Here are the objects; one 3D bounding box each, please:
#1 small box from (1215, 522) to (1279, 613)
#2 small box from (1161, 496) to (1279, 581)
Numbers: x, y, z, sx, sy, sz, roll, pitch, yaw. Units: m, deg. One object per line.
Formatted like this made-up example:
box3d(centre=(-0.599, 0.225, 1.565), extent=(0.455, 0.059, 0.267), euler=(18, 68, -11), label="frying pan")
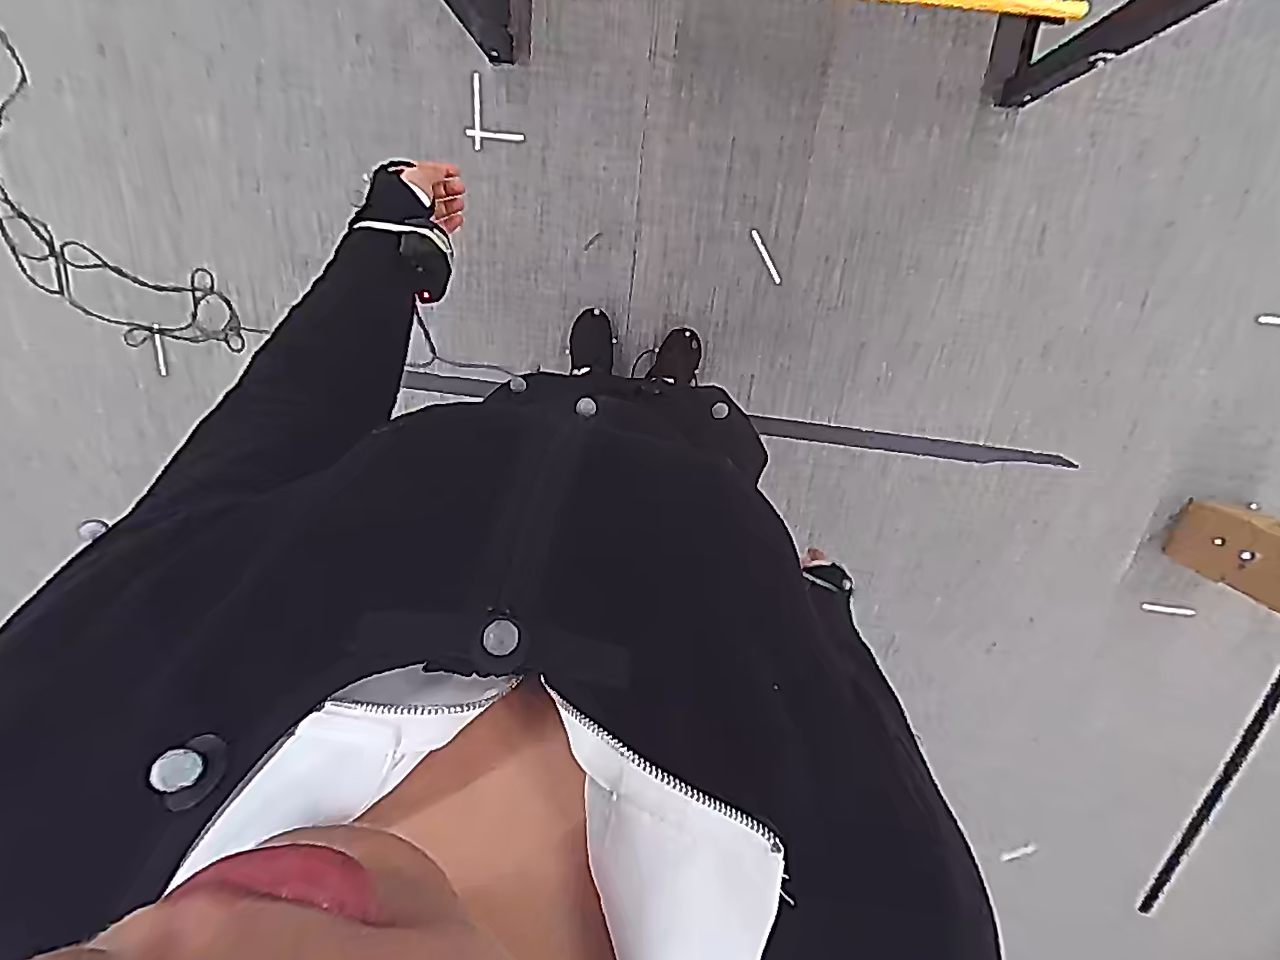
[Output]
box3d(centre=(1.534, 0.206, 1.260), extent=(0.179, 0.176, 0.168), euler=(5, 108, 3), label="small box")
box3d(centre=(1.541, 0.158, 1.415), extent=(0.168, 0.176, 0.179), euler=(9, 111, 0), label="small box")
